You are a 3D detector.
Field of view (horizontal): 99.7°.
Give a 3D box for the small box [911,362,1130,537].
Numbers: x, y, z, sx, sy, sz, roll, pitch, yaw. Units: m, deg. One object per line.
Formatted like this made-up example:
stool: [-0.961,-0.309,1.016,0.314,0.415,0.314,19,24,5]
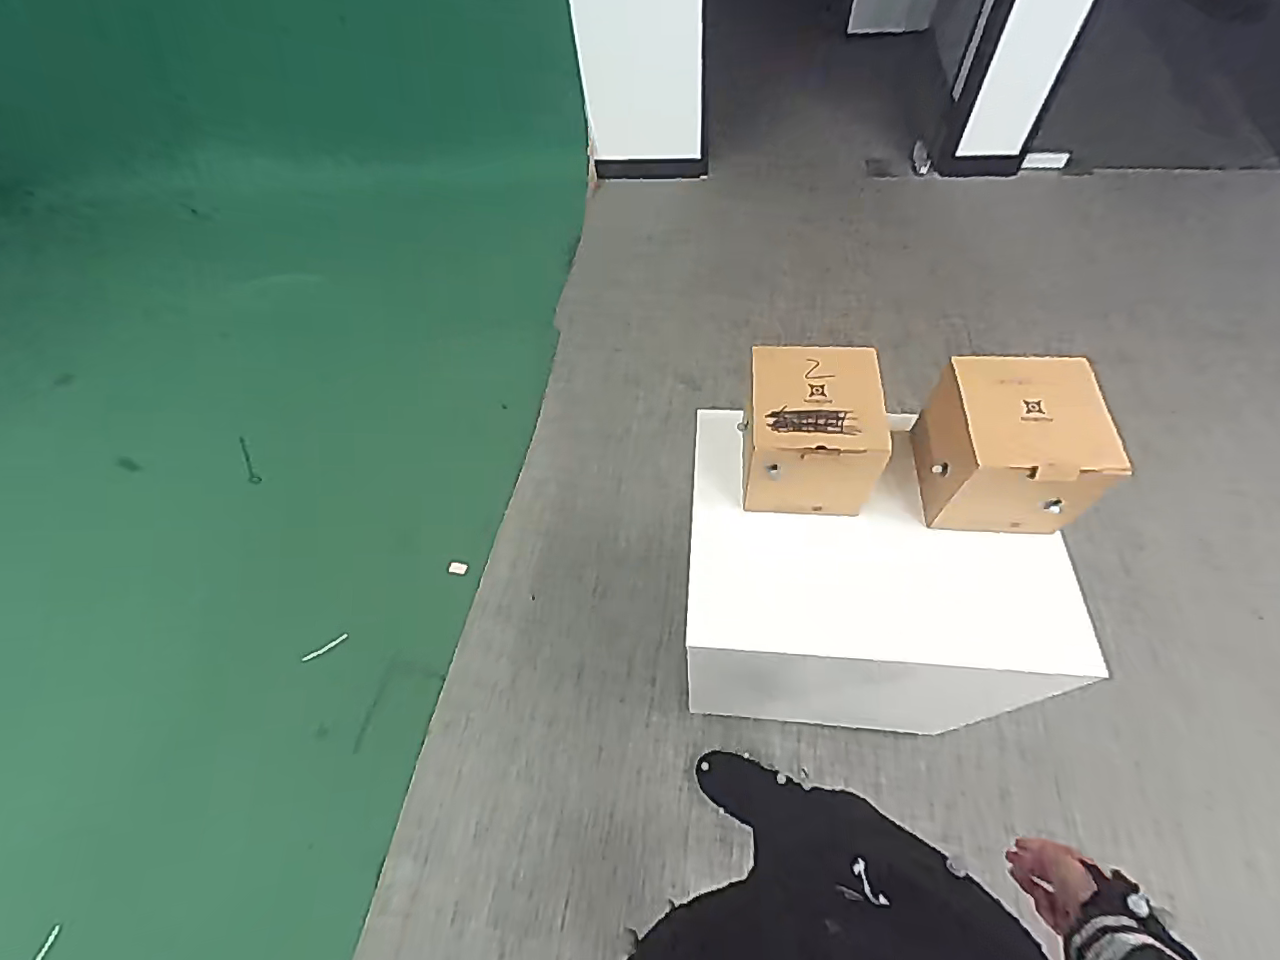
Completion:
small box: [0.486,-0.037,0.725,0.168,0.176,0.179,3,58,7]
